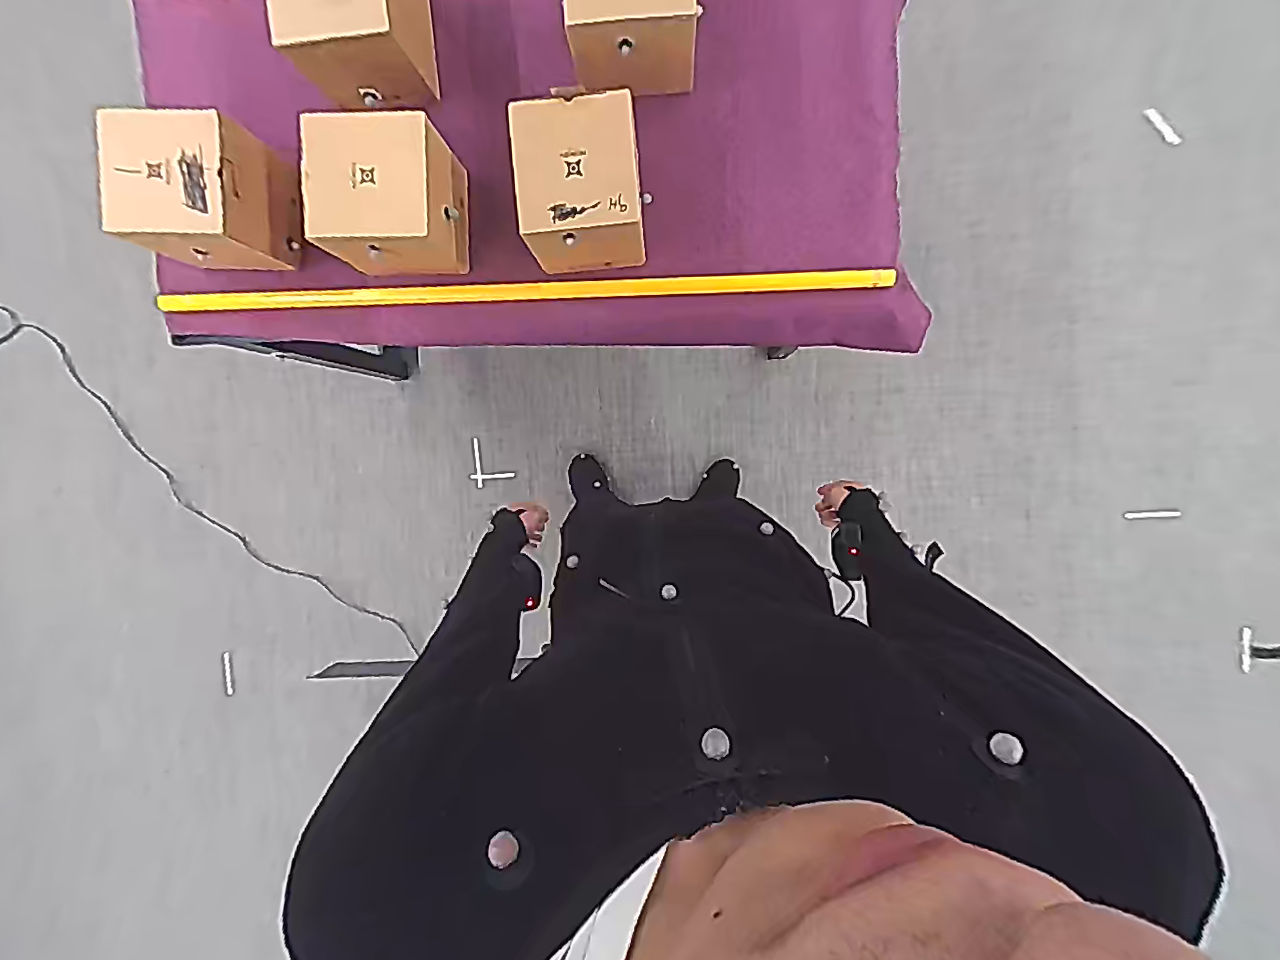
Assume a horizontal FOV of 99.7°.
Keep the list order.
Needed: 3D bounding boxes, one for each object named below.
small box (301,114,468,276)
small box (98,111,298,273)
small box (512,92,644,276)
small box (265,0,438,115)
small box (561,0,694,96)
[{"bbox_3d":[-0.368,-0.414,0.811,0.179,0.176,0.168,0,94,3],"label":"small box"},{"bbox_3d":[-0.651,-0.423,0.818,0.179,0.176,0.168,2,94,2],"label":"small box"},{"bbox_3d":[-0.082,-0.423,0.797,0.168,0.176,0.179,-4,92,3],"label":"small box"},{"bbox_3d":[-0.415,-0.680,0.793,0.168,0.176,0.179,-5,95,3],"label":"small box"},{"bbox_3d":[-0.014,-0.682,0.775,0.179,0.176,0.168,-2,96,3],"label":"small box"}]
